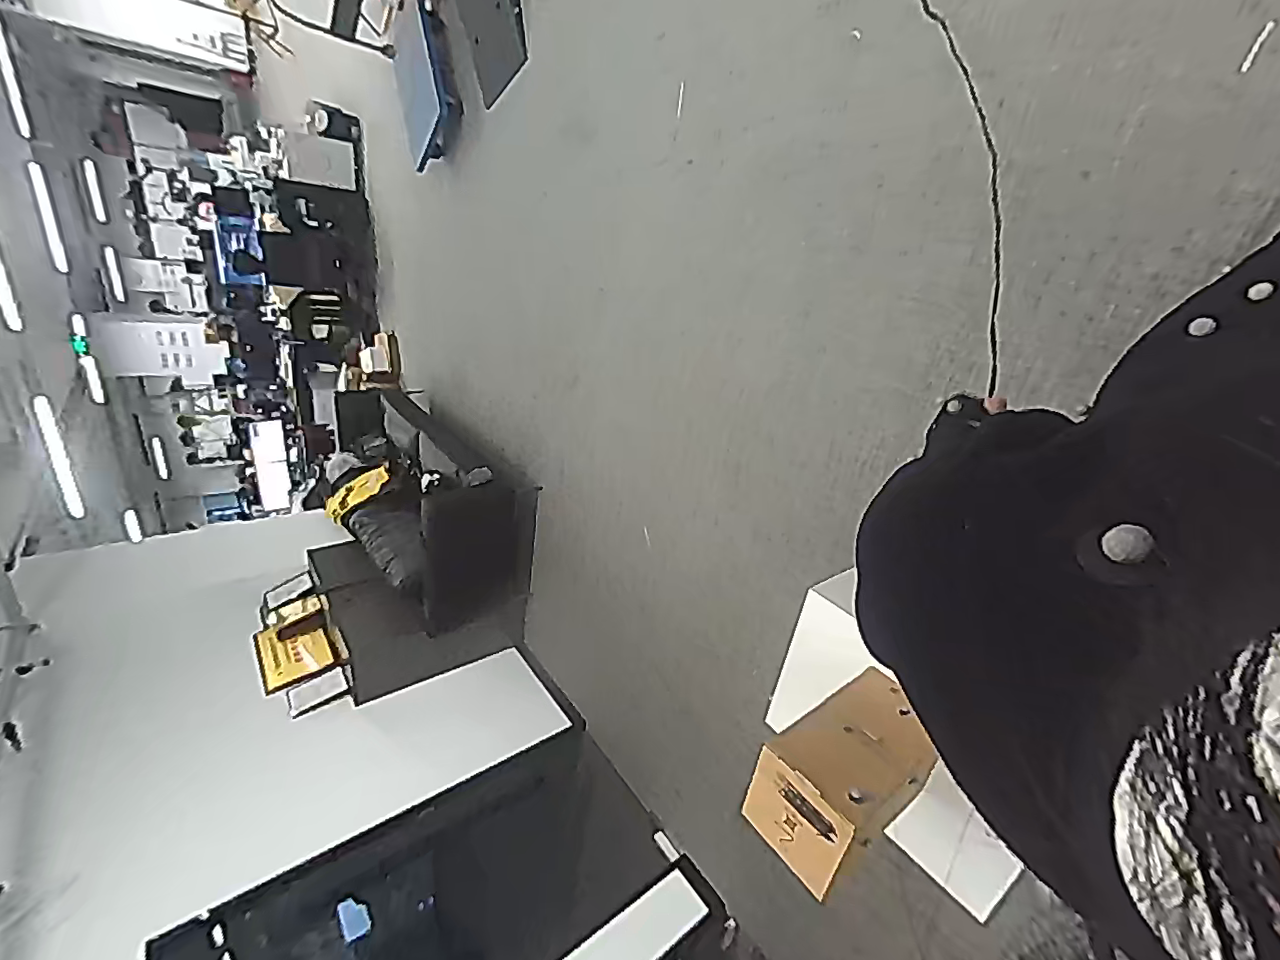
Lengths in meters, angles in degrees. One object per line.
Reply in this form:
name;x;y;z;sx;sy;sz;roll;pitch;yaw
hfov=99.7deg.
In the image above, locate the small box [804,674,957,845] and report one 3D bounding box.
small box;0.427;0.484;0.961;0.168;0.176;0.179;33;124;44
